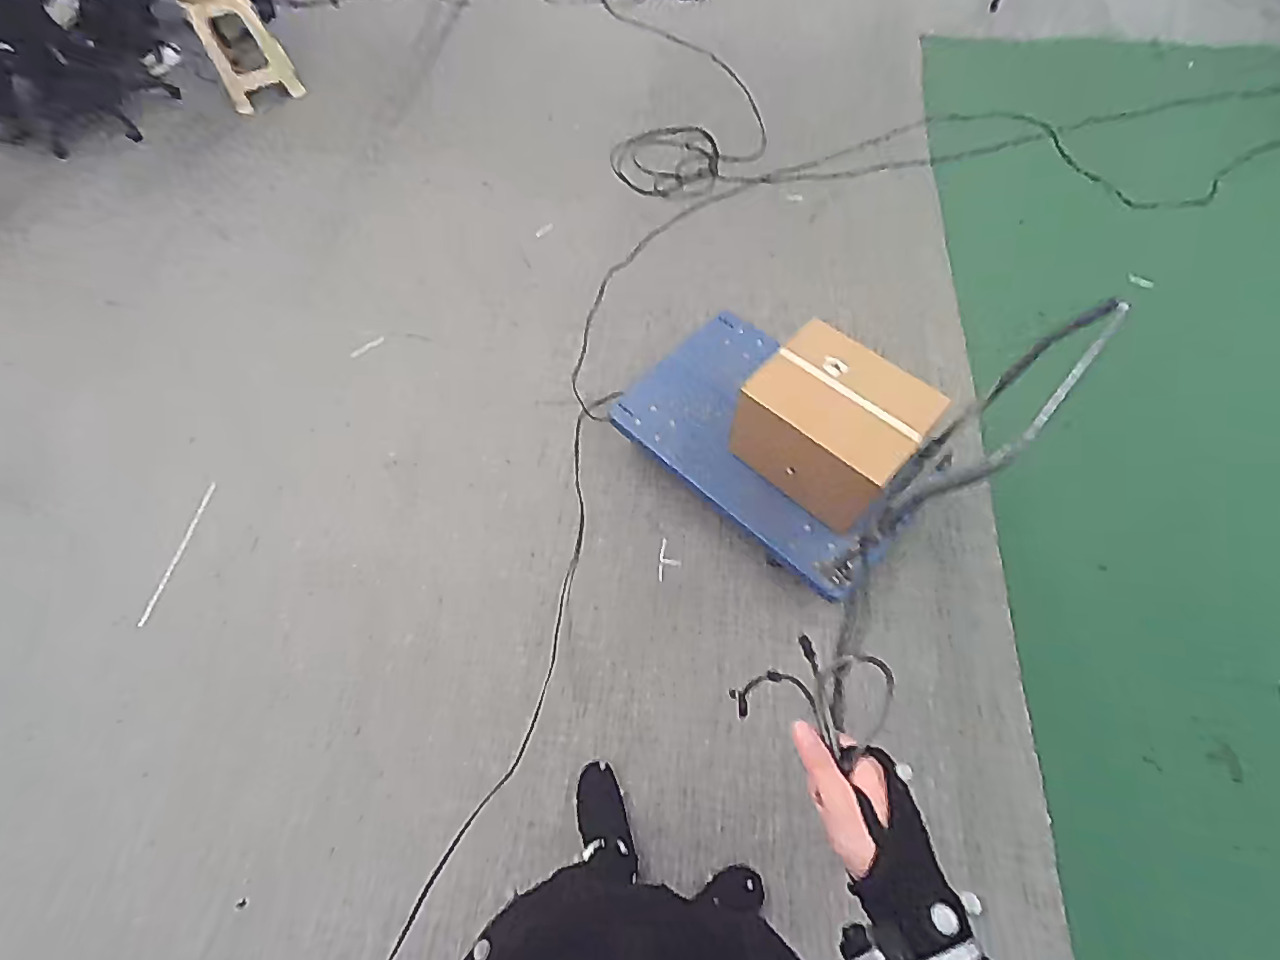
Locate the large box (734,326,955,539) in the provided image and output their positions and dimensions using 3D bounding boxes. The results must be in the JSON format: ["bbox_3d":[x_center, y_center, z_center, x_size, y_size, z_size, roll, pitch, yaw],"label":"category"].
[{"bbox_3d":[0.509,-0.118,1.425,0.408,0.320,0.320,39,71,21],"label":"large box"}]
